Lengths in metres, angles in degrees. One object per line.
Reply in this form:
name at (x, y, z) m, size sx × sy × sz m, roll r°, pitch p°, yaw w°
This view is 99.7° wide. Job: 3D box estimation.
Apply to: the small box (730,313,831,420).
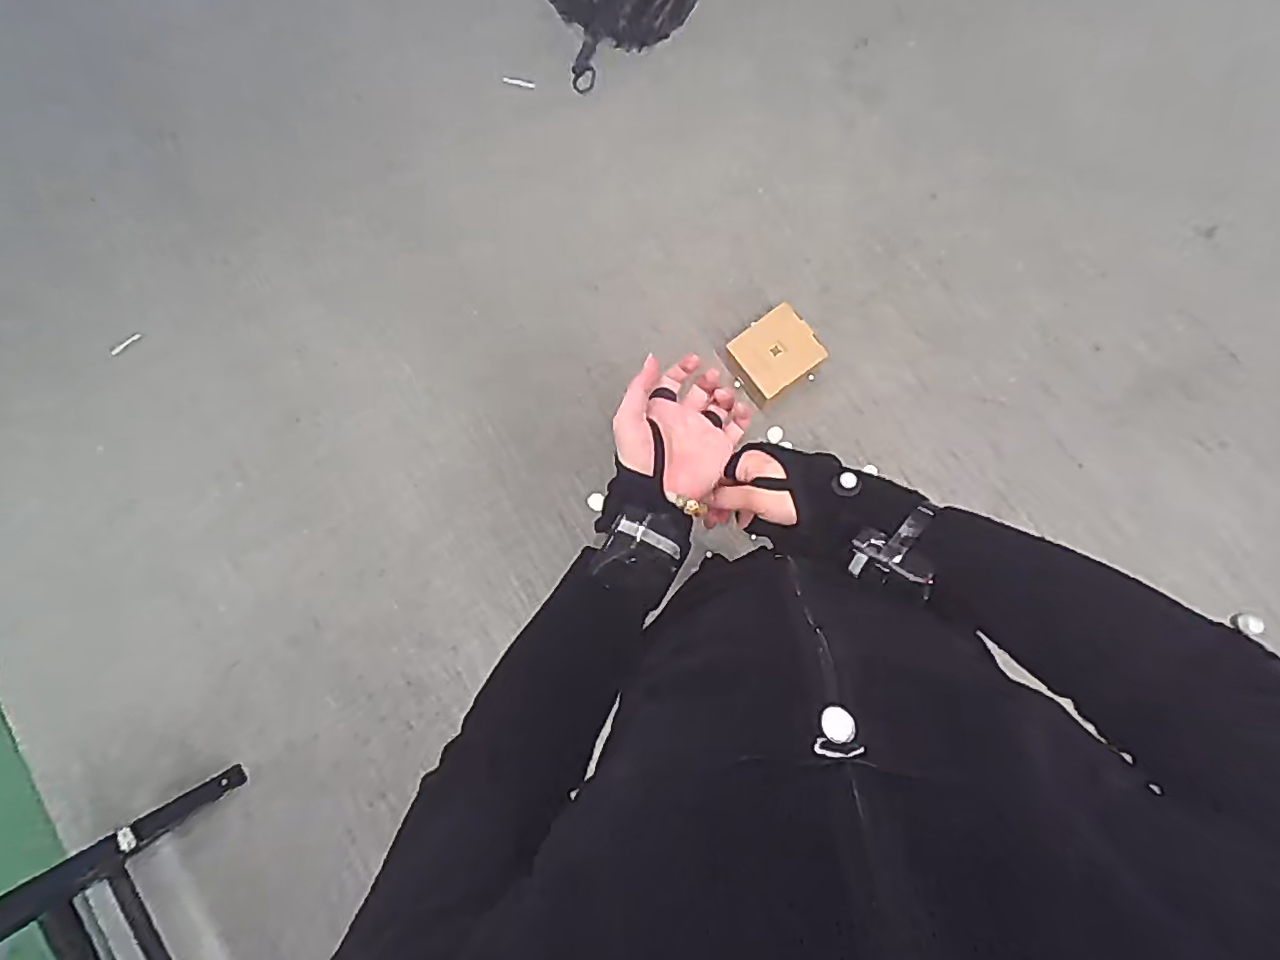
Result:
small box at (0.335, -0.272, 1.335) m, size 0.179 × 0.176 × 0.168 m, roll -37°, pitch 82°, yaw 5°
